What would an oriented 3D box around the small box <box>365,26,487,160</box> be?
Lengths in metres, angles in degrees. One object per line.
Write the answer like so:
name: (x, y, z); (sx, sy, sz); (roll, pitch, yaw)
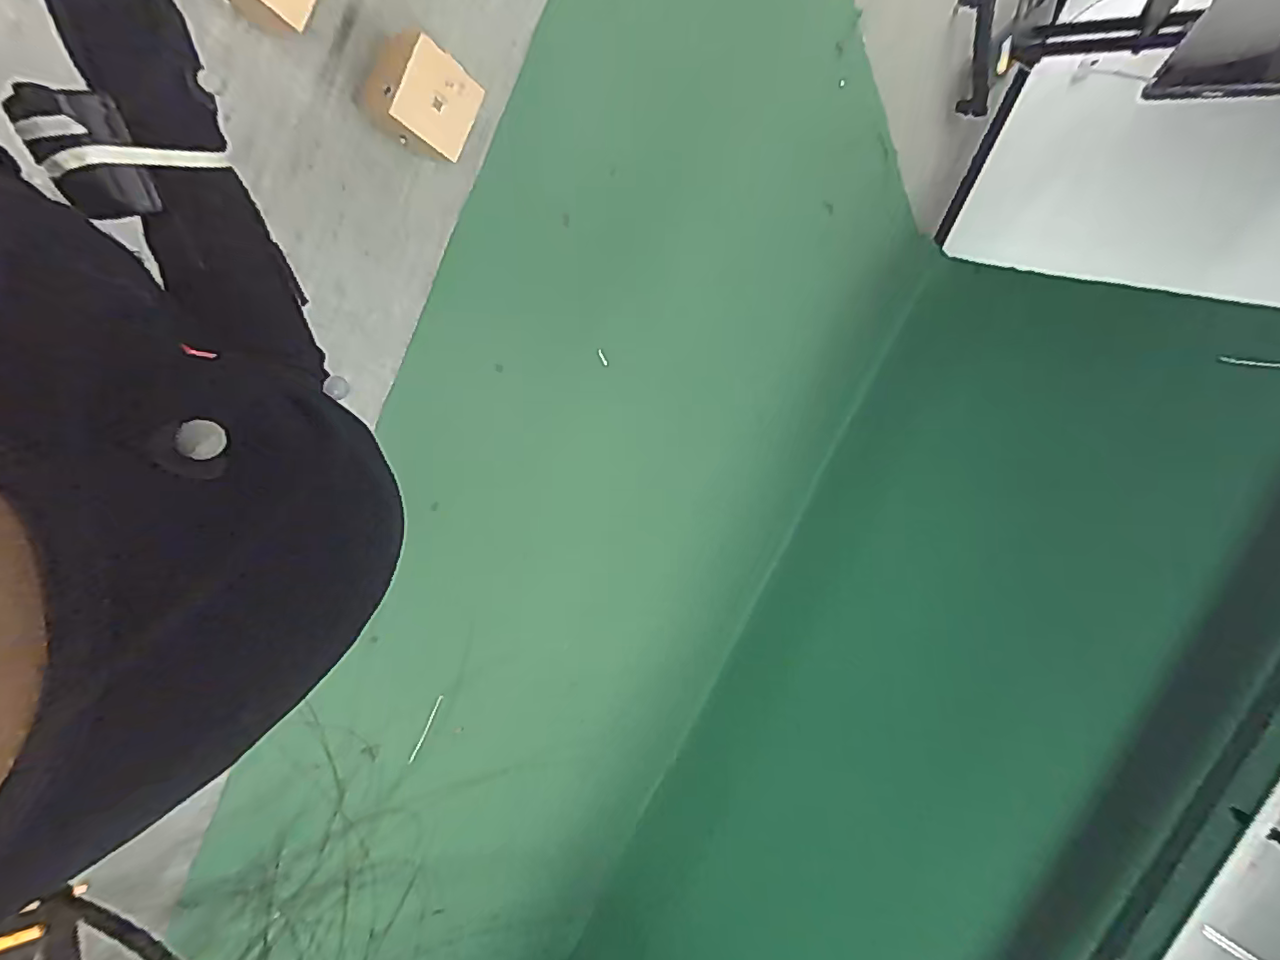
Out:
small box: (-0.480, -0.850, 1.199); (0.168, 0.176, 0.179); (19, 100, -54)
